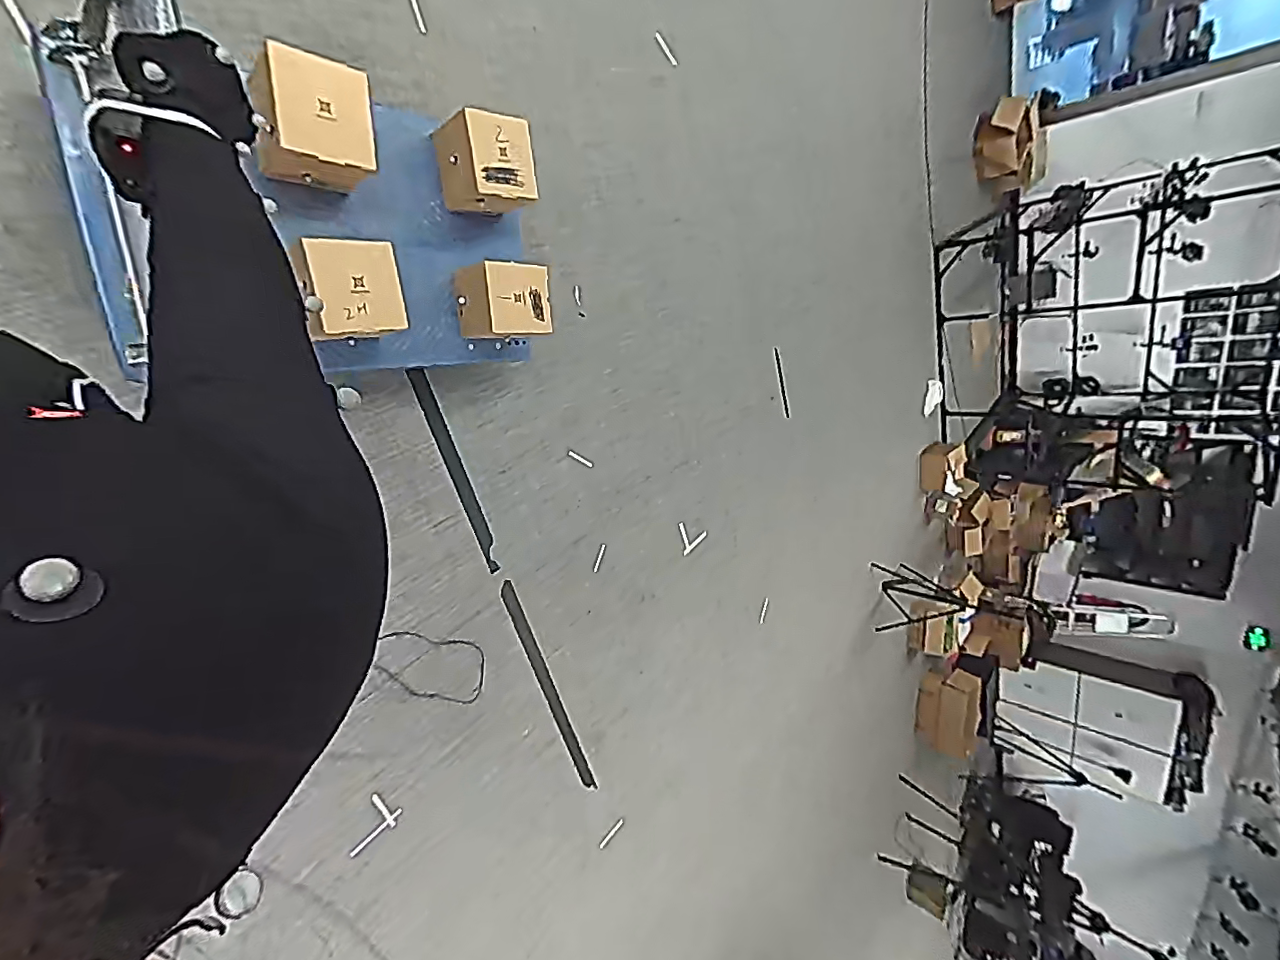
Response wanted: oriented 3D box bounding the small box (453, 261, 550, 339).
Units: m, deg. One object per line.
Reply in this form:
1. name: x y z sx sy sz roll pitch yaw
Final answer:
1. small box: -0.353 -0.452 1.381 0.179 0.176 0.168 -15 106 -42

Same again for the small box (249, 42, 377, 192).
1. small box: -0.638 -0.690 1.053 0.168 0.176 0.179 -13 106 -44

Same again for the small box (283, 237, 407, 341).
1. small box: -0.614 -0.389 1.122 0.168 0.176 0.179 -19 109 -43
